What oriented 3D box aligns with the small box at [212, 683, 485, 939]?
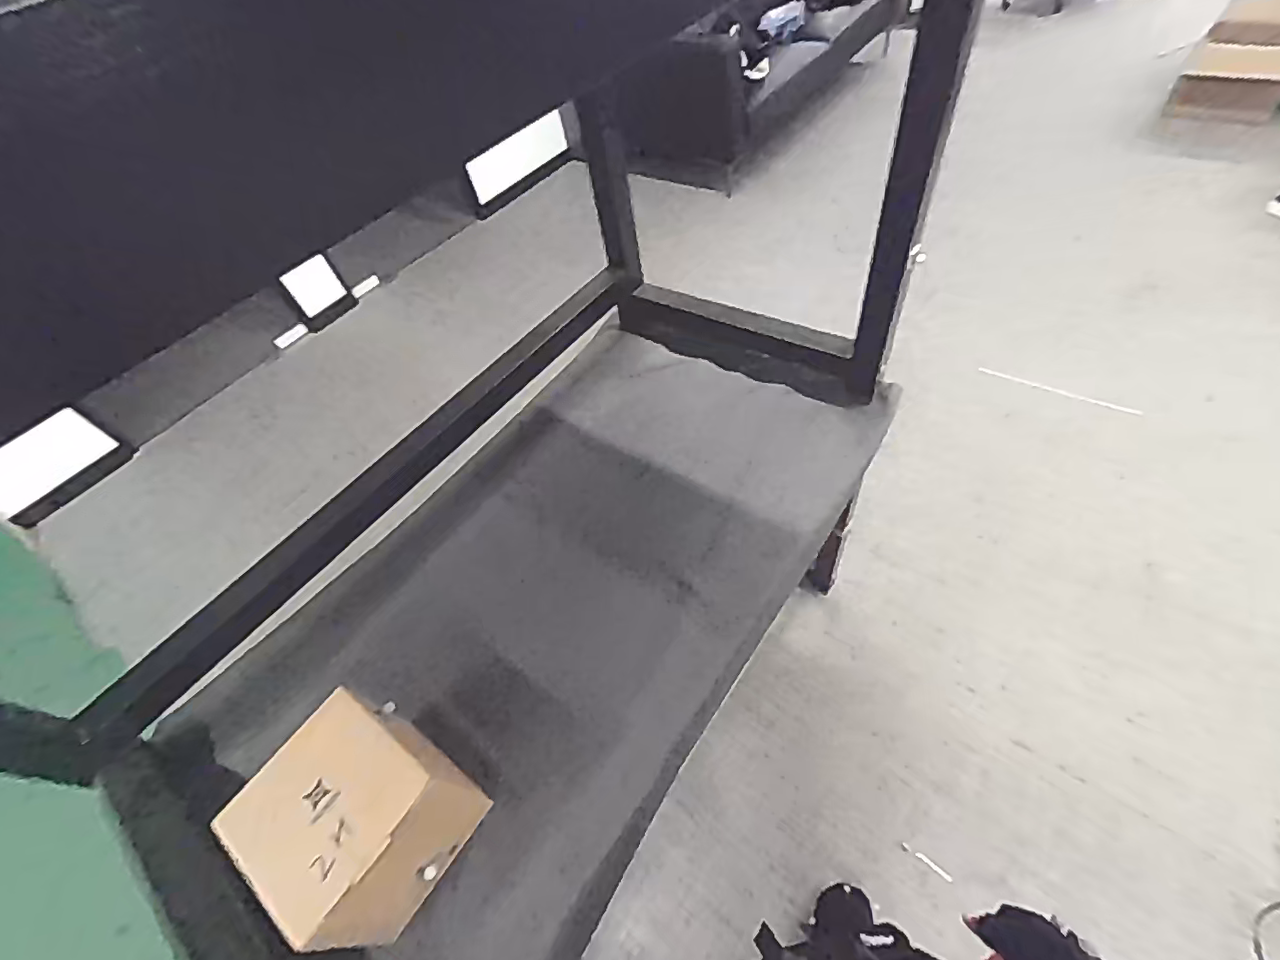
[{"bbox_3d":[-0.314,0.370,0.612,0.179,0.176,0.168,25,62,27],"label":"small box"}]
